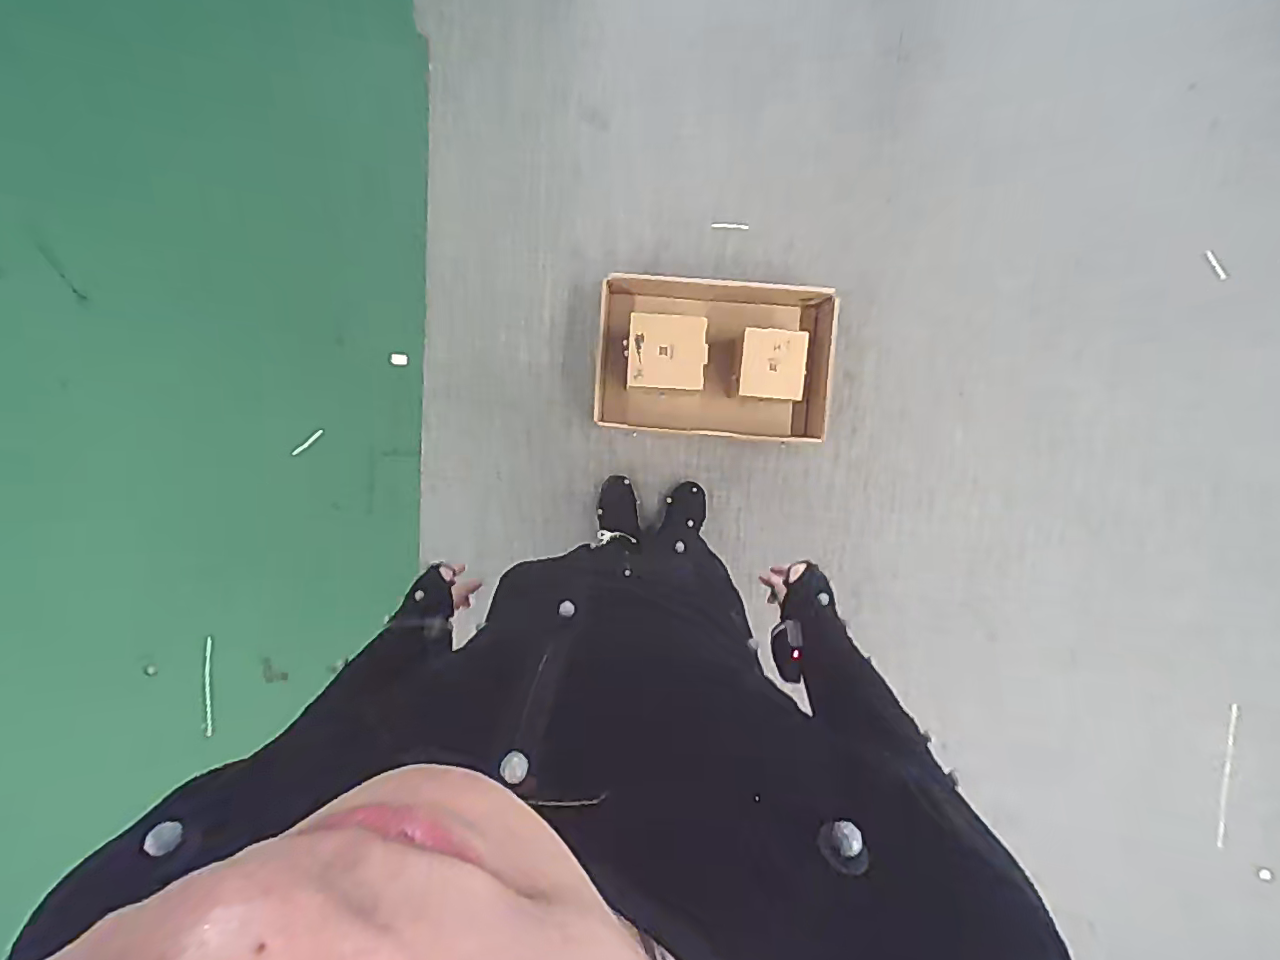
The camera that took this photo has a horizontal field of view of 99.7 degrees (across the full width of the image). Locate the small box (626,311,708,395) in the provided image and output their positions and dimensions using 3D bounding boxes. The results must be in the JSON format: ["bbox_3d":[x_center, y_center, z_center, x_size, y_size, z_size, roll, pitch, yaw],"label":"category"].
[{"bbox_3d":[0.058,-0.296,1.289,0.179,0.176,0.168,3,94,-2],"label":"small box"}]

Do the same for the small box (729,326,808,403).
[{"bbox_3d":[0.338,-0.304,1.452,0.168,0.176,0.179,5,95,0],"label":"small box"}]
